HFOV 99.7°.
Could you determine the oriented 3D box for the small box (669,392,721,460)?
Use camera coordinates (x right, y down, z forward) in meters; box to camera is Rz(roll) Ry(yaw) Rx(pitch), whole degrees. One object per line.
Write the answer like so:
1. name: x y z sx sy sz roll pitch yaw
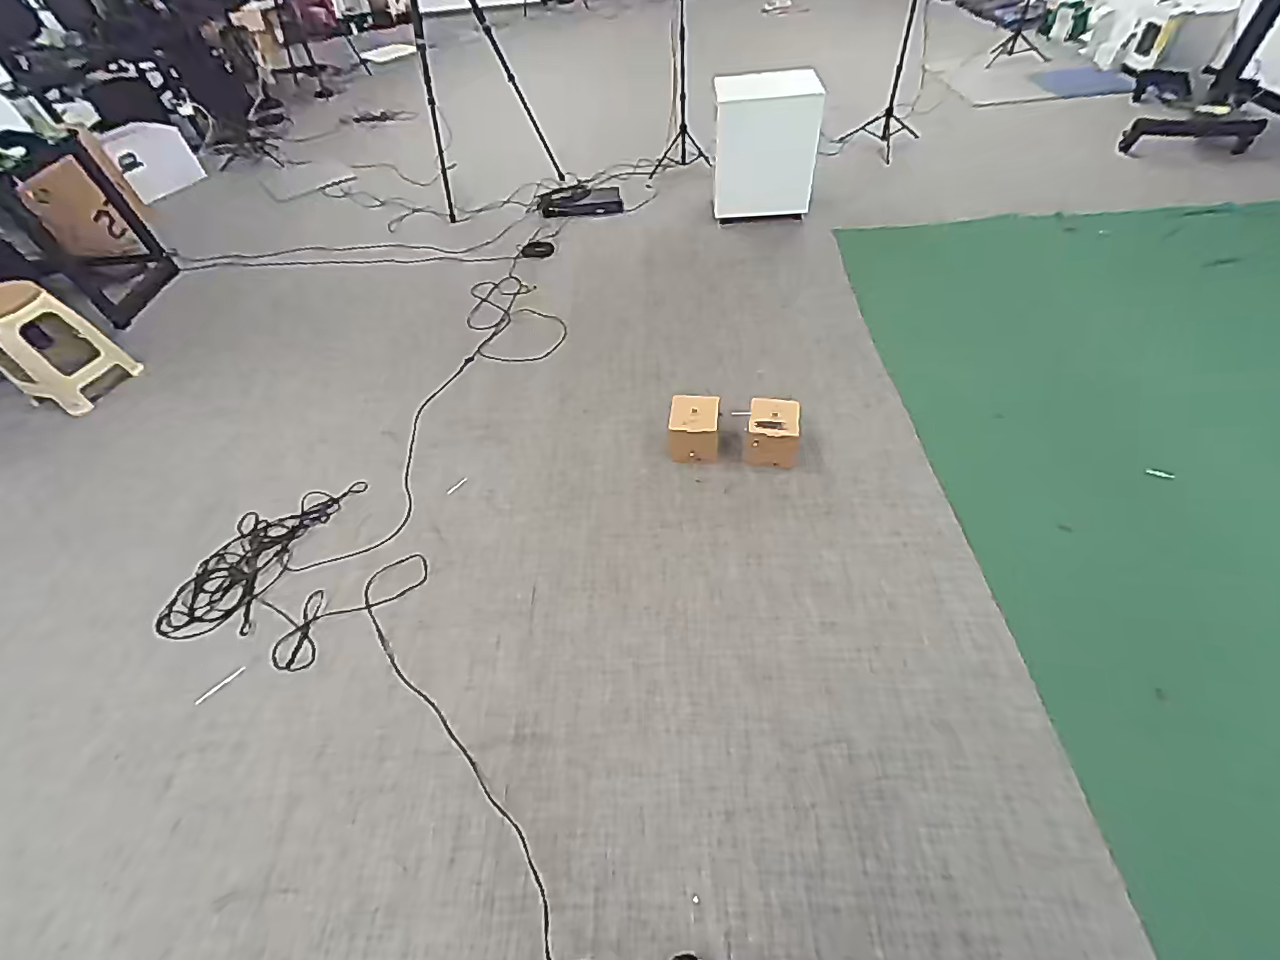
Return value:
1. small box: 0.198 -0.194 1.937 0.168 0.176 0.179 4 52 9
